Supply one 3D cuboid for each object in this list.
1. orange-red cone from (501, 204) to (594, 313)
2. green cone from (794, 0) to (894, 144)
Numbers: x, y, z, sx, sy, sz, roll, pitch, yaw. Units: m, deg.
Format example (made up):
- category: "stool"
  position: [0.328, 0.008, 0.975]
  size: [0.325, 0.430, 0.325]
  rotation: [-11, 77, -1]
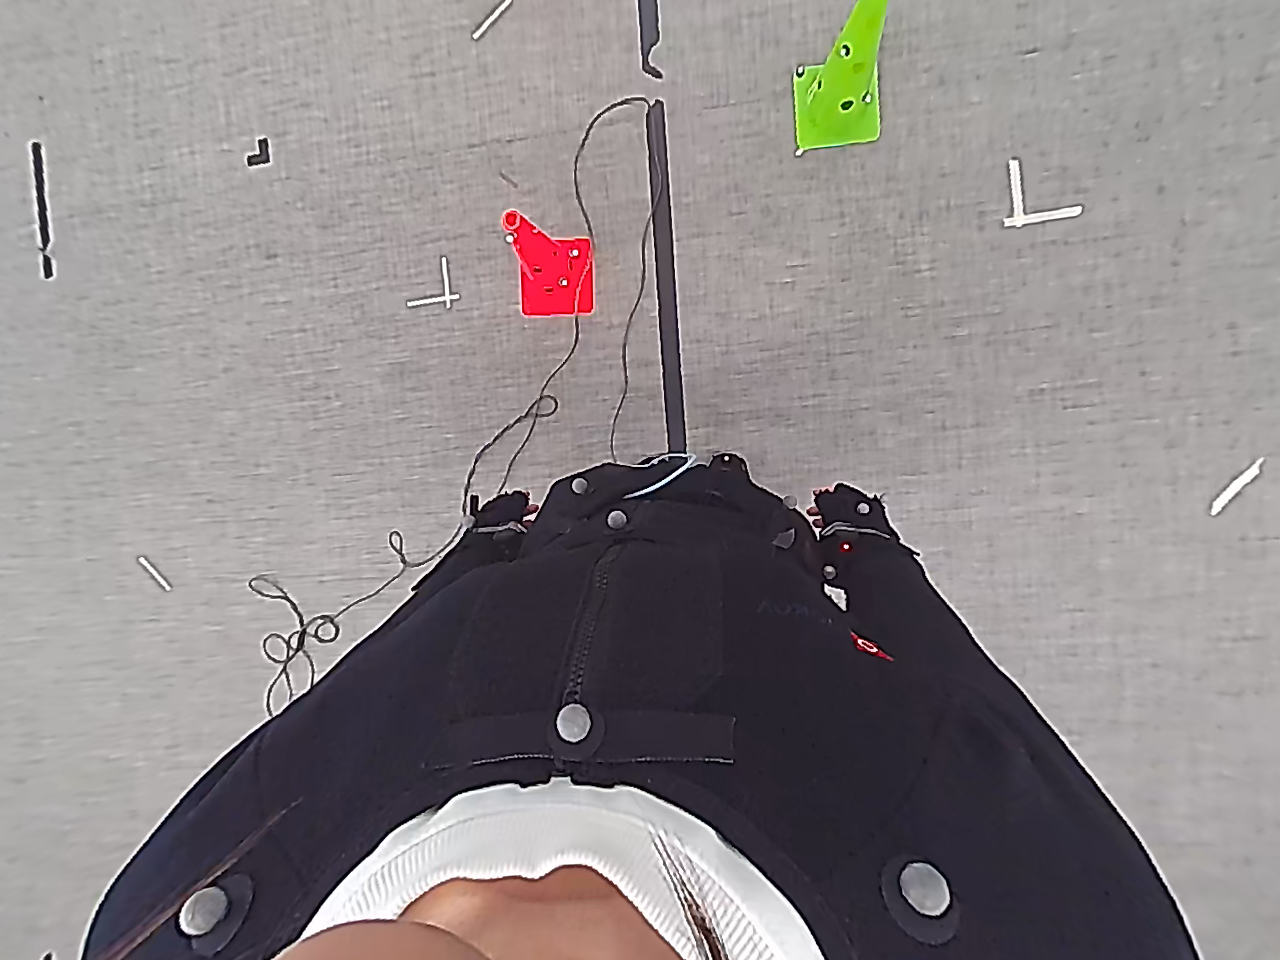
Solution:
- category: "orange-red cone"
  position: [-0.243, -0.540, 1.262]
  size: [0.199, 0.360, 0.198]
  rotation: [1, 91, 8]
- category: "green cone"
  position: [0.466, -0.926, 1.157]
  size: [0.202, 0.368, 0.200]
  rotation: [-4, 92, 6]
